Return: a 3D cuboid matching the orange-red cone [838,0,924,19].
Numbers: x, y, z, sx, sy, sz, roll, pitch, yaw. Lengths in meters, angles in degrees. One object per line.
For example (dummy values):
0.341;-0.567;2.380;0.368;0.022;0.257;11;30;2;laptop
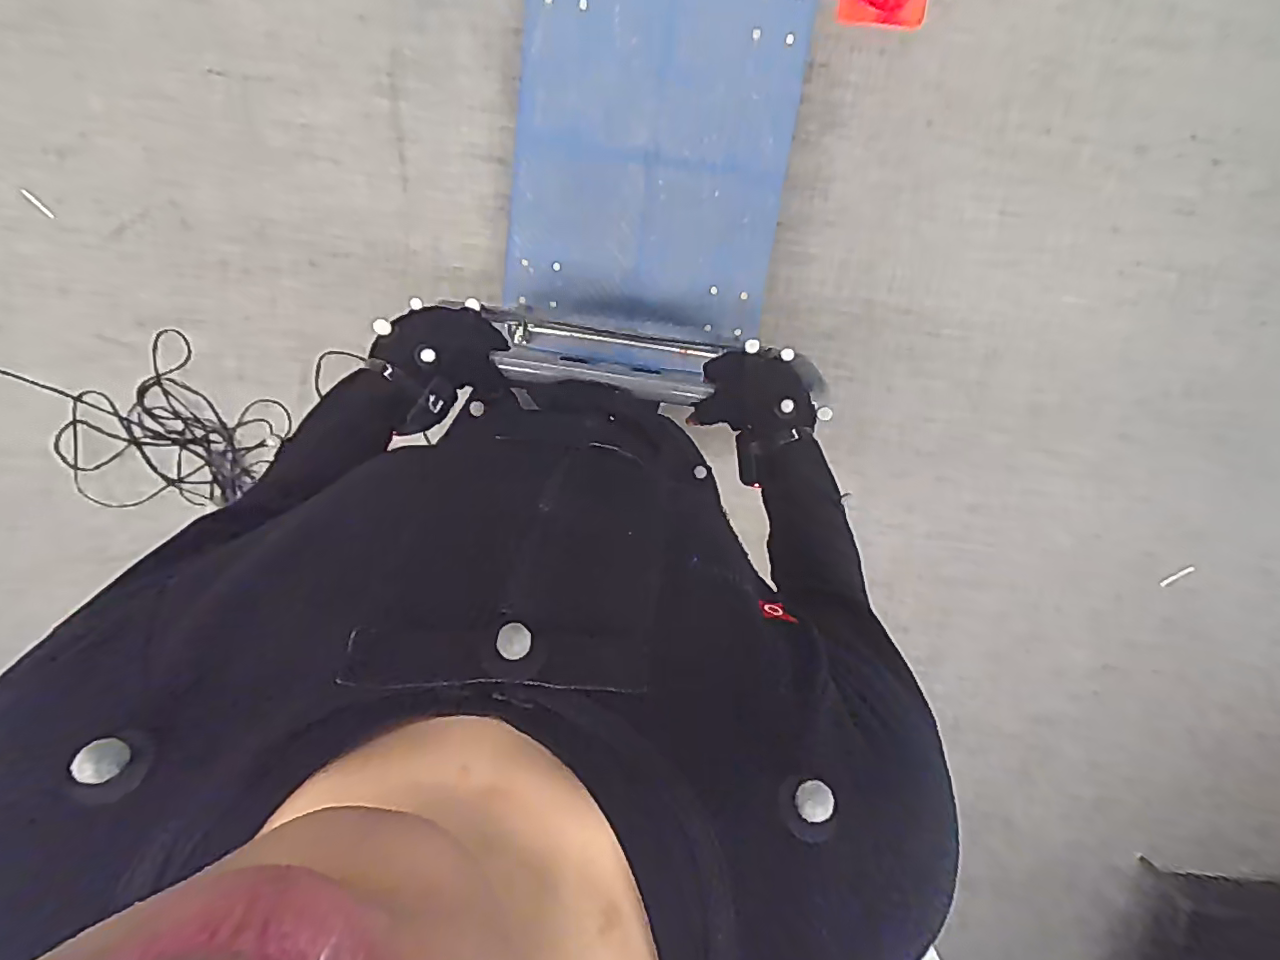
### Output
0.549;-1.117;1.046;0.199;0.360;0.198;7;103;0;orange-red cone
